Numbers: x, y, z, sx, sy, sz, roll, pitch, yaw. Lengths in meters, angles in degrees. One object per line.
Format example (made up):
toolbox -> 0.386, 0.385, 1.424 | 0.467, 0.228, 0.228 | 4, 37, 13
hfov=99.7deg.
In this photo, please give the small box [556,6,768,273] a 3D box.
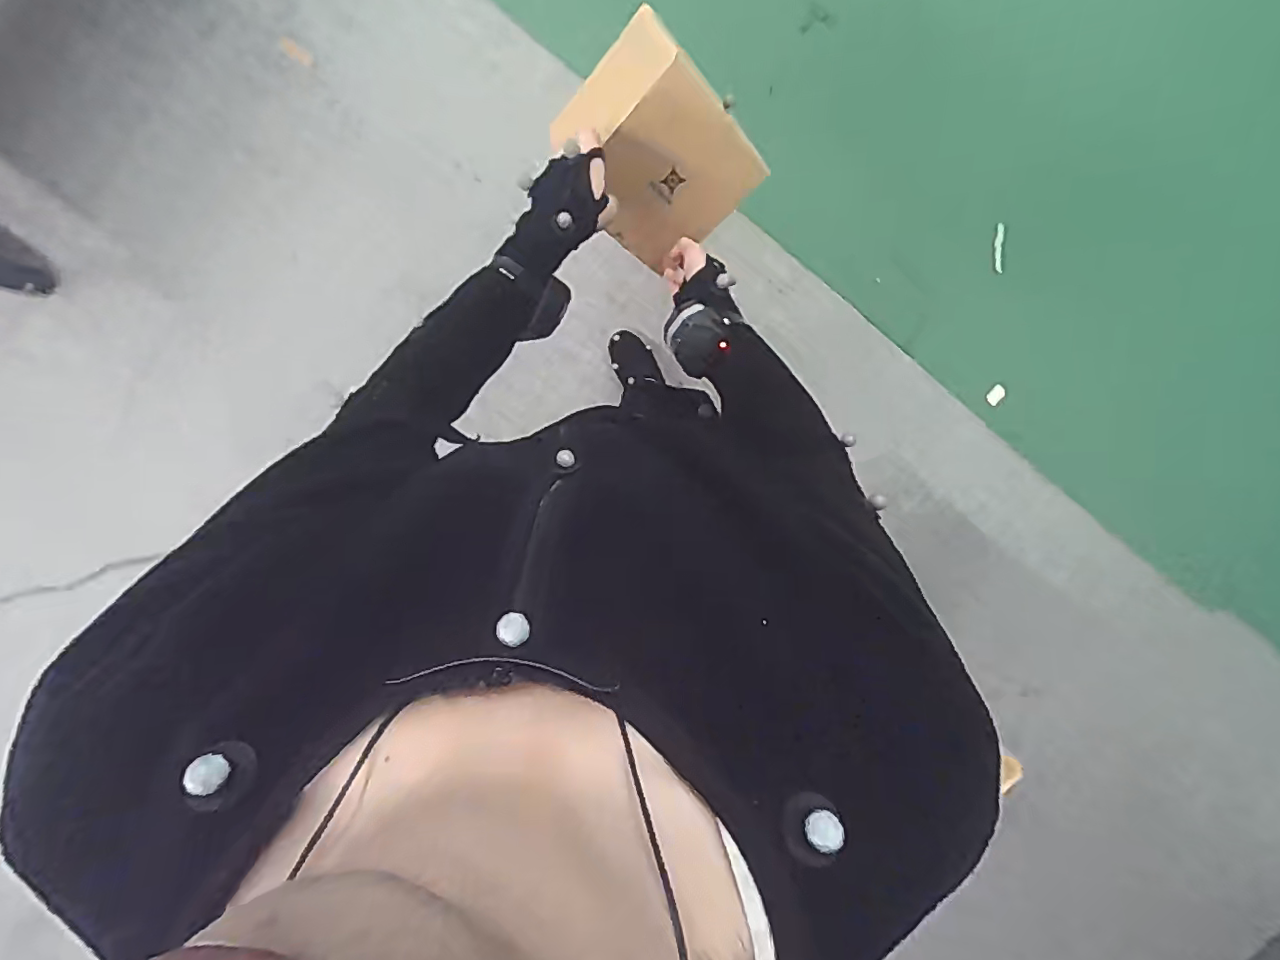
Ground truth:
small box -> 0.015, -0.395, 0.637 | 0.179, 0.176, 0.168 | -36, 139, 30
